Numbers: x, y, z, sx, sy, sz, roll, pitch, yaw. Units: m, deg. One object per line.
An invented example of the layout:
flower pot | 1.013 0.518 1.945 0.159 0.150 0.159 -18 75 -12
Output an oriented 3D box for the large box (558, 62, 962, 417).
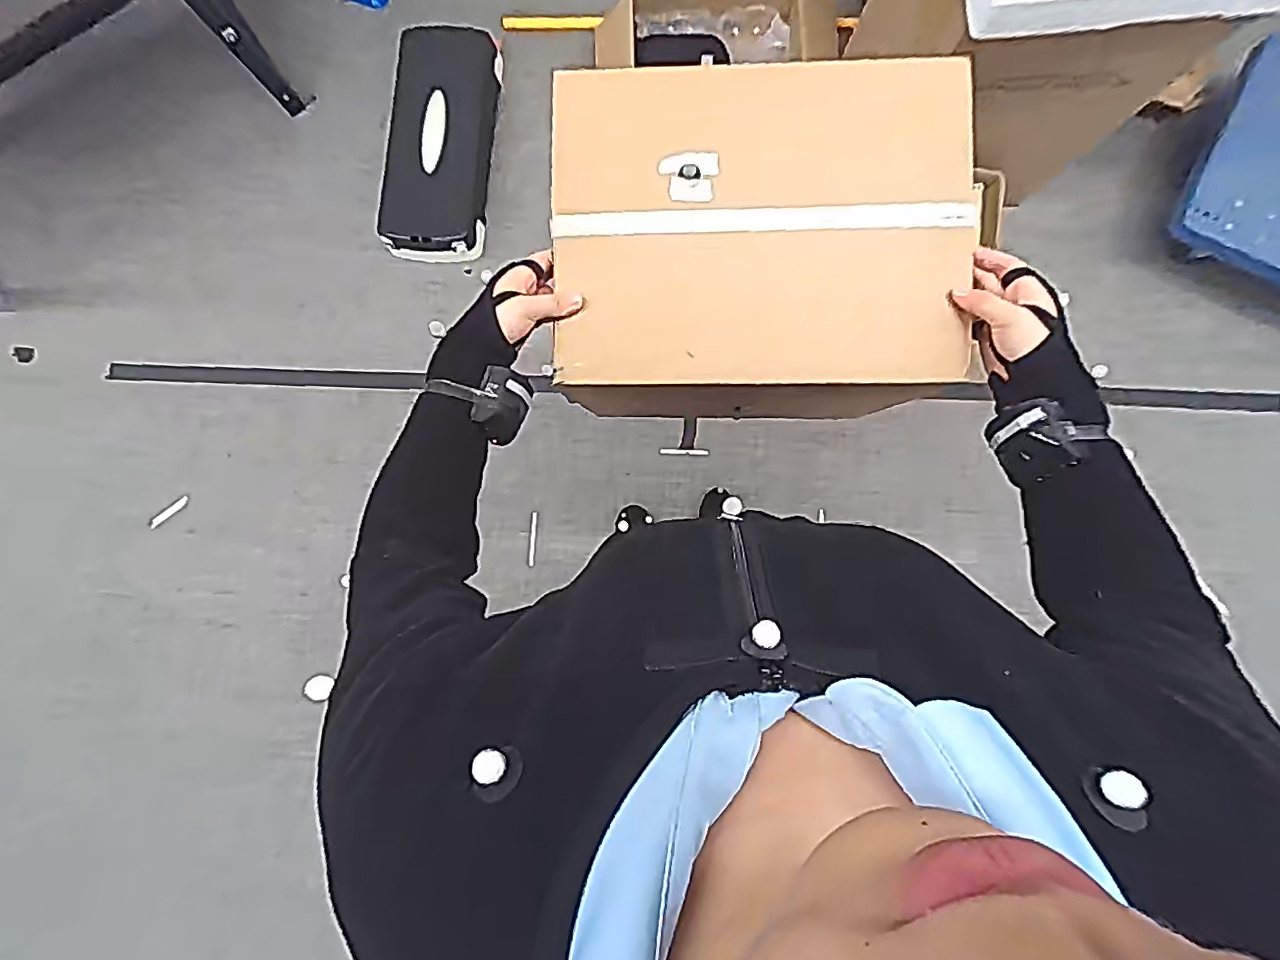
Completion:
large box | 0.128 -0.251 0.688 0.408 0.320 0.320 0 89 4
